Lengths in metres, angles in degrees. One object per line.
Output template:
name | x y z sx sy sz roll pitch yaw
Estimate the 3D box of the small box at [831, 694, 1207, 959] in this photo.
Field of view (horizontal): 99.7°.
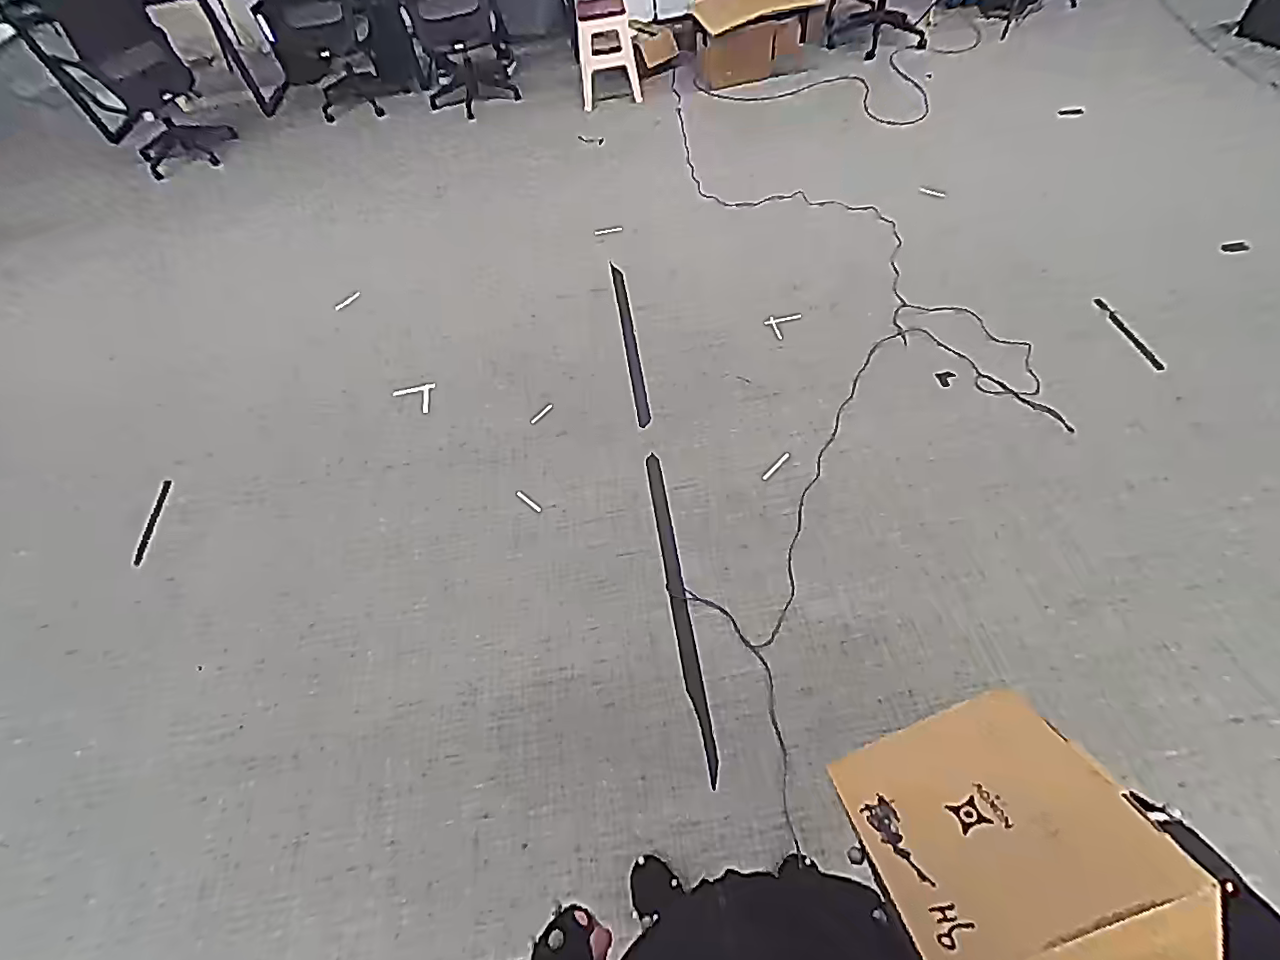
small box | 0.286 0.317 0.434 0.179 0.176 0.168 -24 20 4
